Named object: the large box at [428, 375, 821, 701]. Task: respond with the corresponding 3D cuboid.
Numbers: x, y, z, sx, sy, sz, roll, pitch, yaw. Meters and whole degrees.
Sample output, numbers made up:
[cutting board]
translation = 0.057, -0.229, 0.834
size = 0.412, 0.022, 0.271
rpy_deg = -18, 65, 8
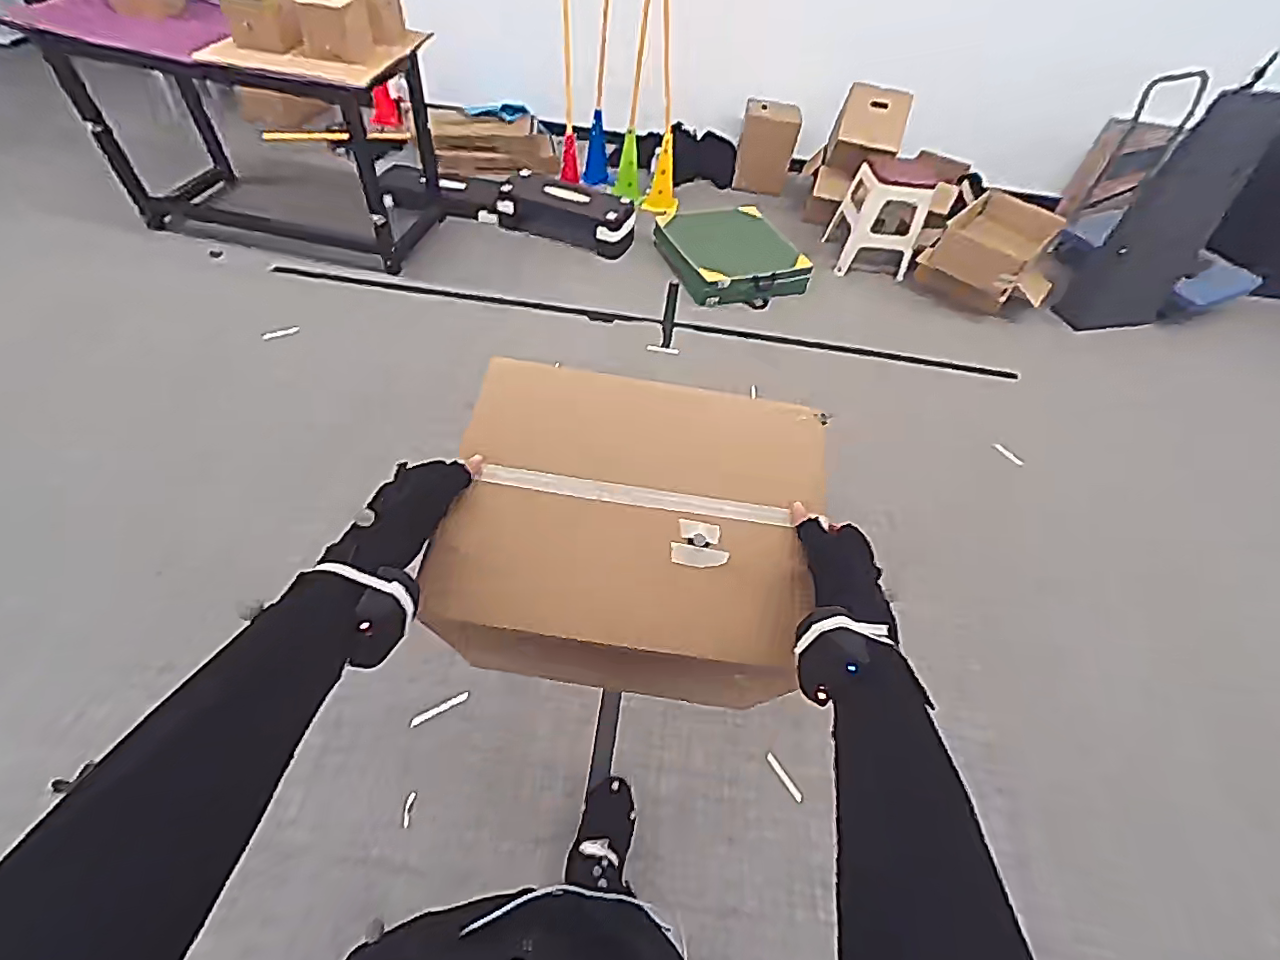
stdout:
[large box]
translation = -0.014, 0.098, 0.734
size = 0.408, 0.320, 0.320
rpy_deg = 9, 62, -2
